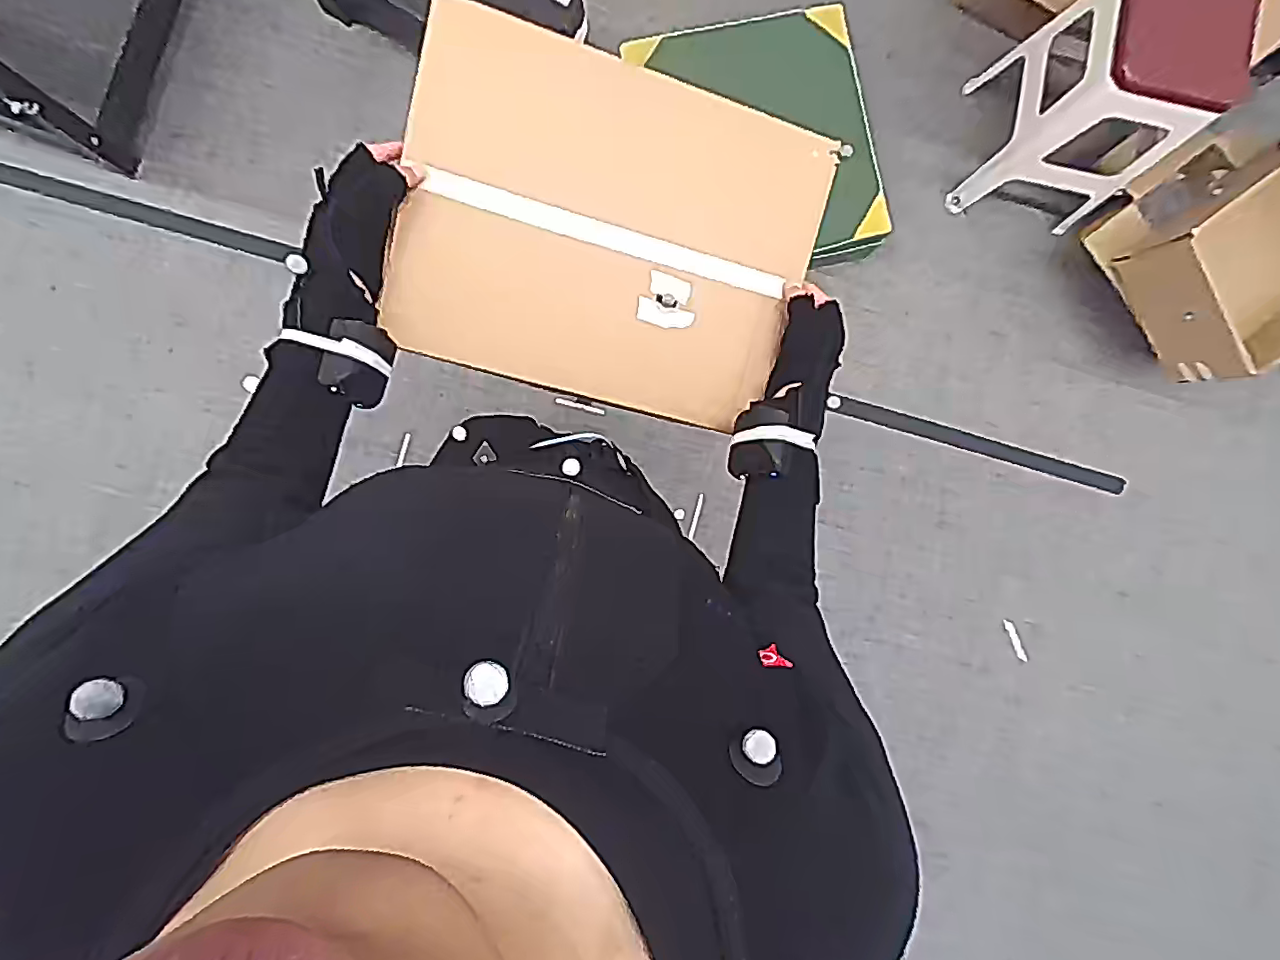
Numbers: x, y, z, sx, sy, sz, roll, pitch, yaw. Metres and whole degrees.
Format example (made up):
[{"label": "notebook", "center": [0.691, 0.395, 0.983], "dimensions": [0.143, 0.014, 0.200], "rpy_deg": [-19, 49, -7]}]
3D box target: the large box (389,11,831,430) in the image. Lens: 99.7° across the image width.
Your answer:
[{"label": "large box", "center": [-0.048, -0.267, 0.693], "dimensions": [0.408, 0.320, 0.320], "rpy_deg": [13, 98, -12]}]
